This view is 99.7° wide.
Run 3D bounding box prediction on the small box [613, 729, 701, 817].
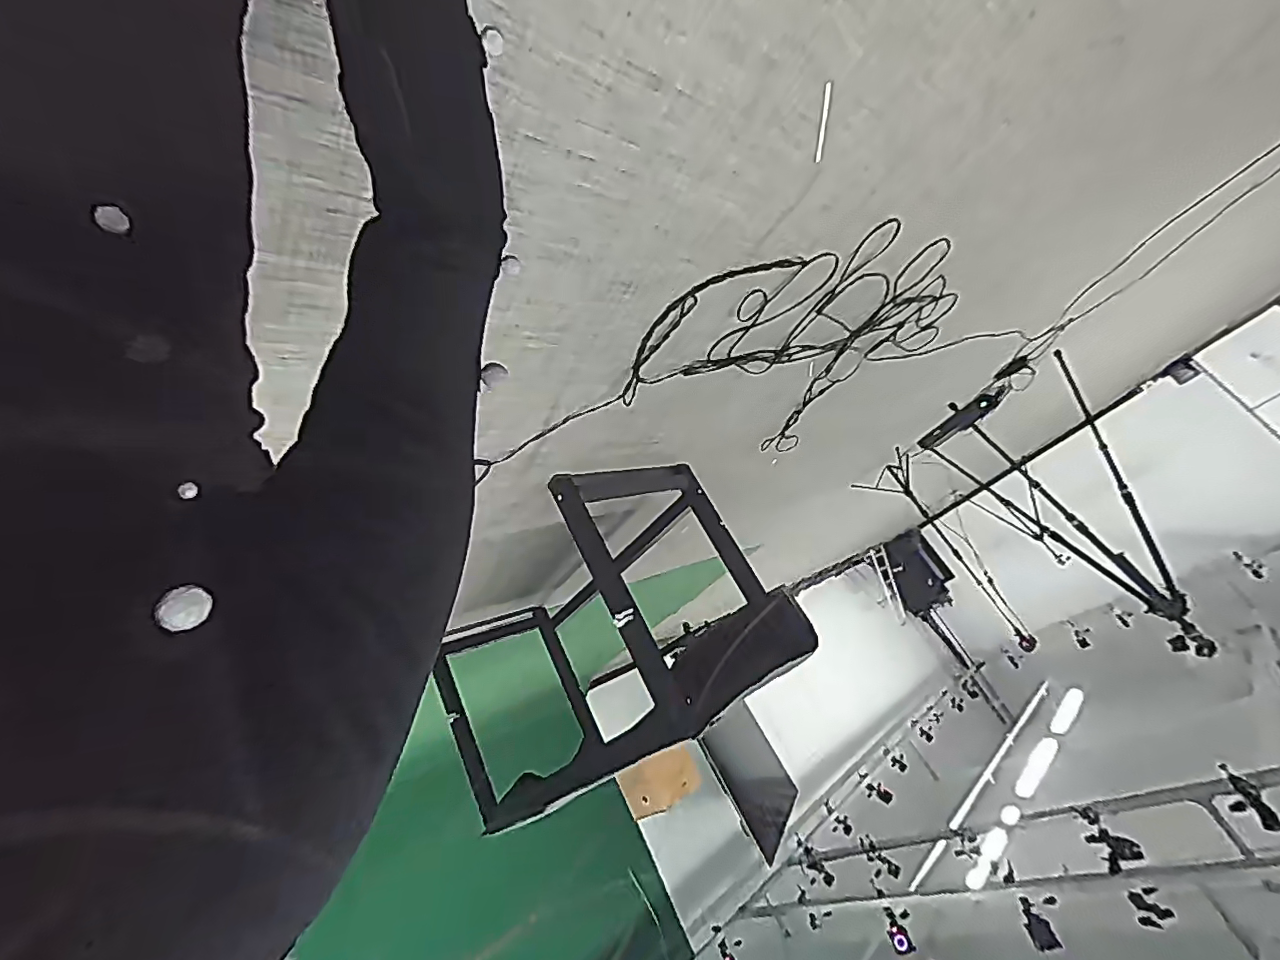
[{"bbox_3d":[0.045,0.887,1.648,0.168,0.176,0.179,-8,151,-43],"label":"small box"}]
